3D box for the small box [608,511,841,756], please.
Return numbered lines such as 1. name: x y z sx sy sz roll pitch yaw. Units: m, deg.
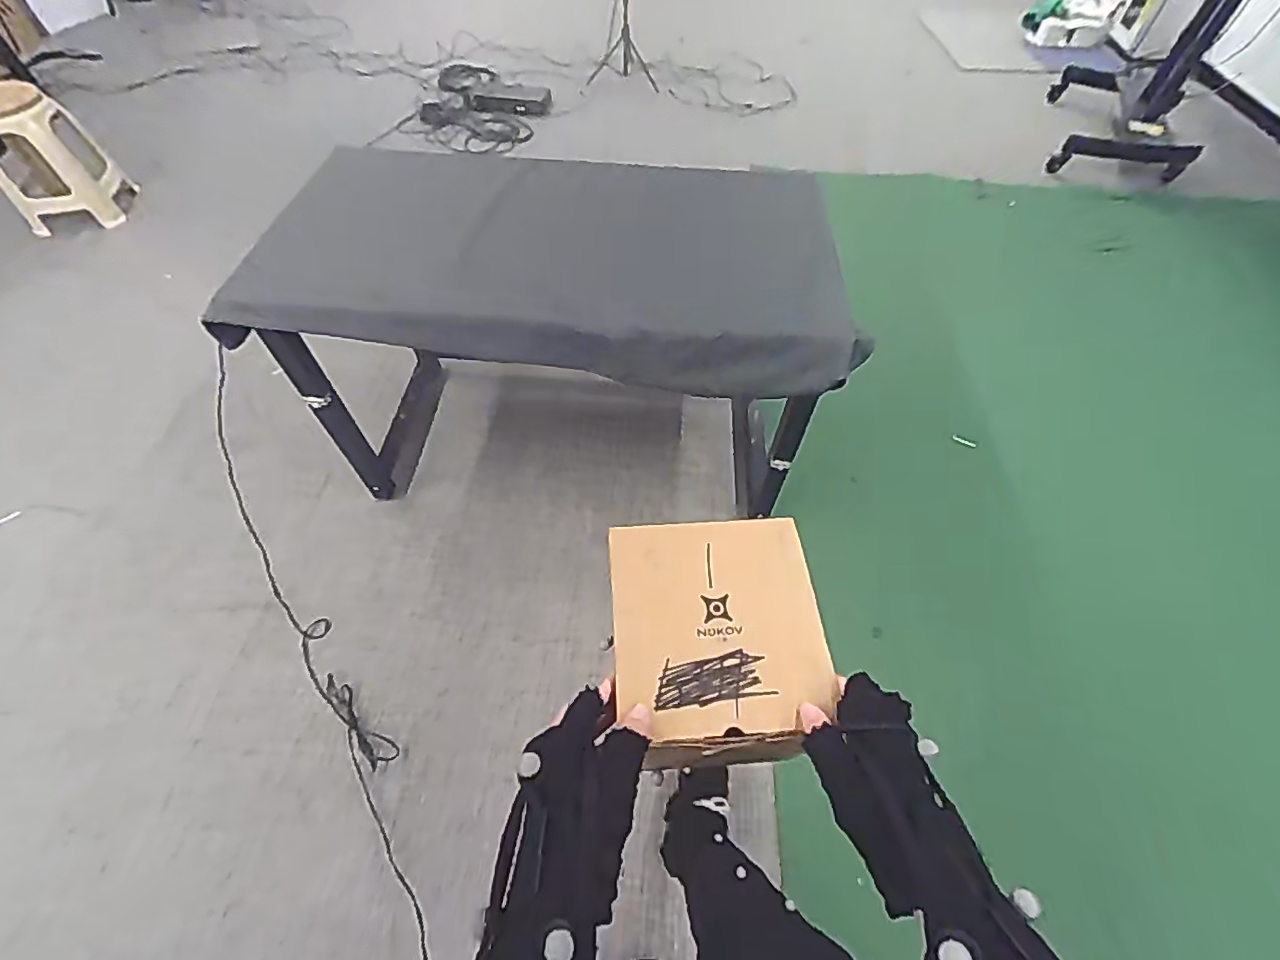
1. small box: 0.059 0.147 0.494 0.168 0.176 0.179 -3 56 -3
